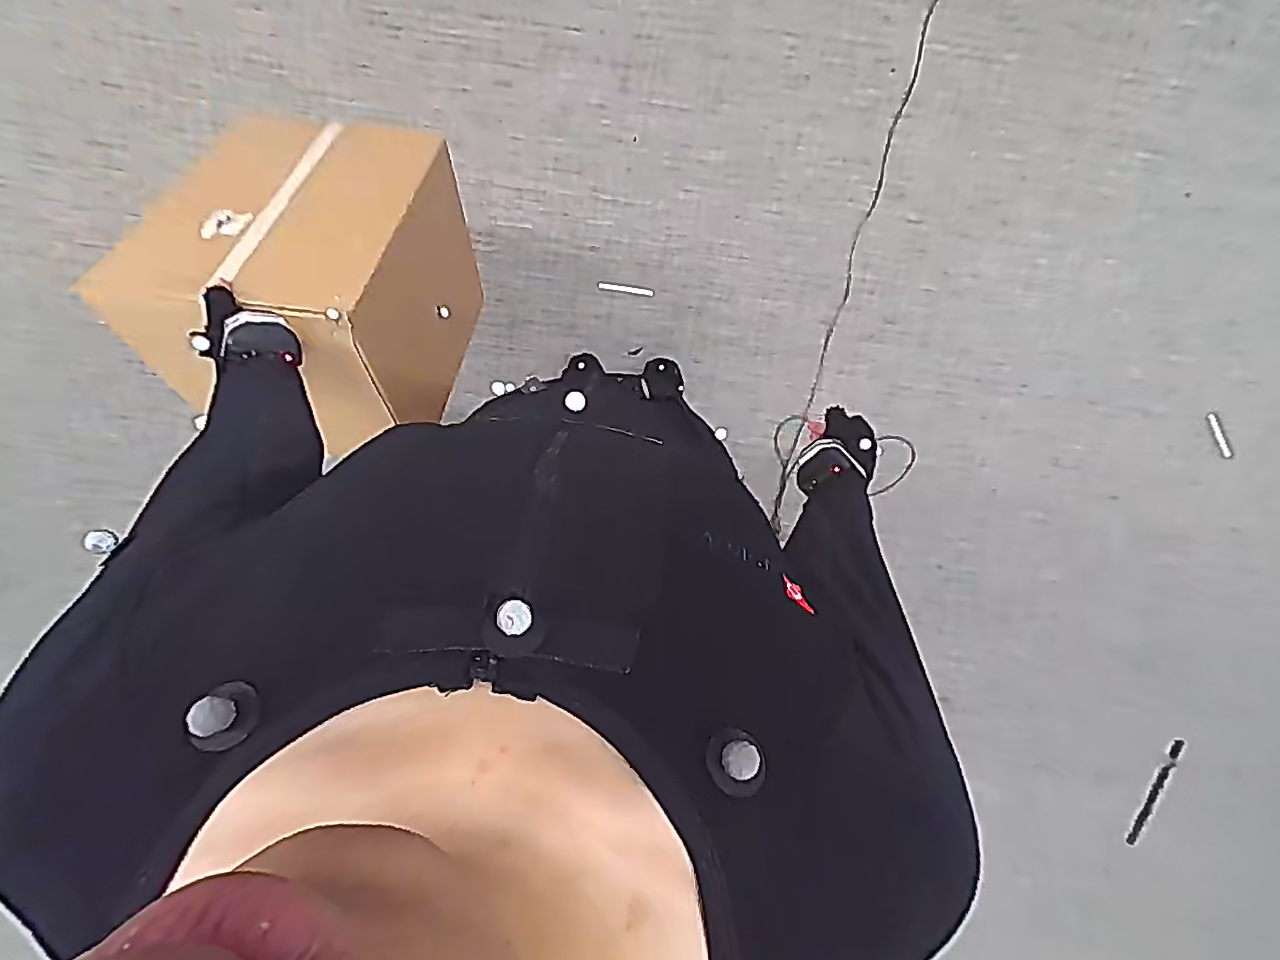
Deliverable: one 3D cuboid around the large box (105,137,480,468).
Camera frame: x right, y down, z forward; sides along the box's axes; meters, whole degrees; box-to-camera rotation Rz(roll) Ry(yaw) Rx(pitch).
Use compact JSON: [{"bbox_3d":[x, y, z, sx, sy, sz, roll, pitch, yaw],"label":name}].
[{"bbox_3d":[-0.477,-0.278,0.869,0.320,0.408,0.320,5,148,1],"label":"large box"}]
